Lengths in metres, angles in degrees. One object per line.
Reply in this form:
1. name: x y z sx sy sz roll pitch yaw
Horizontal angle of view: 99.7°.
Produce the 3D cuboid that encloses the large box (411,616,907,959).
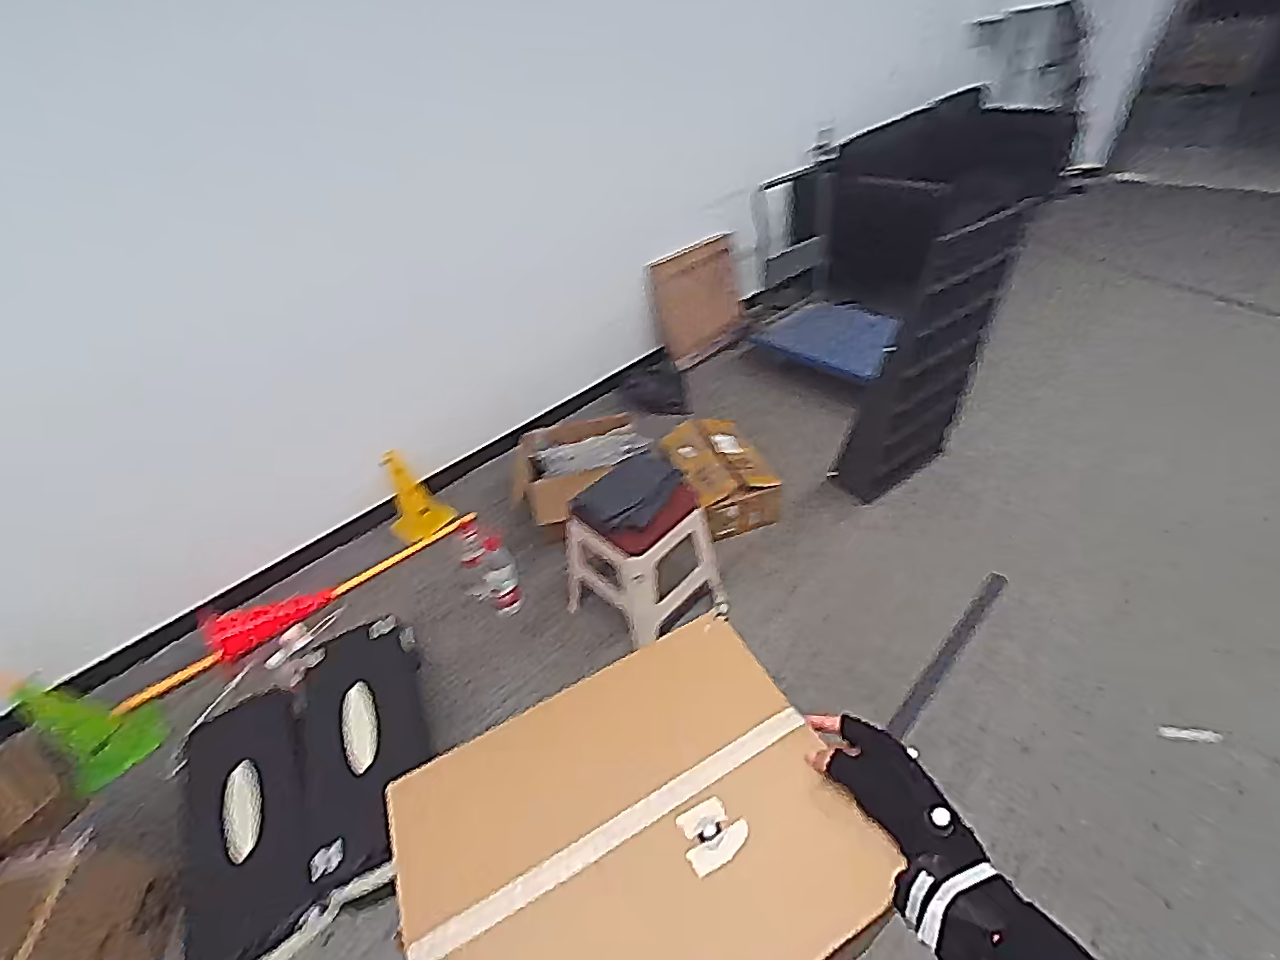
1. large box: 0.015 0.442 0.620 0.408 0.320 0.320 -24 43 -15
